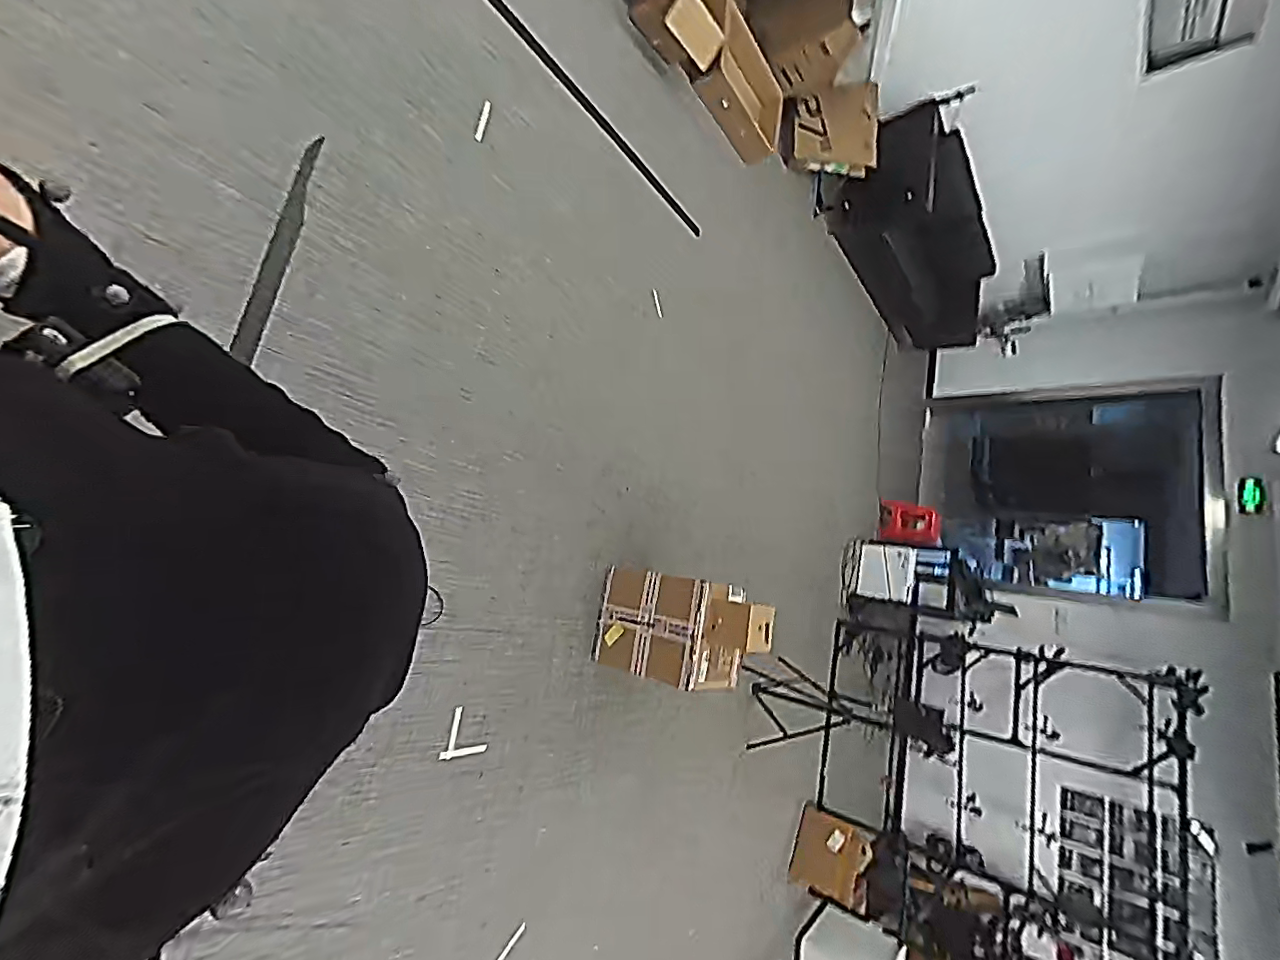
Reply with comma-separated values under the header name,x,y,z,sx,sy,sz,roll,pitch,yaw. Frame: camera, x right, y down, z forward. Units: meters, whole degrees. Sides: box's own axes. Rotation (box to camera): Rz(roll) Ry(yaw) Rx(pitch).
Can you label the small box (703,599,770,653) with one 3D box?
name,x,y,z,sx,sy,sz,roll,pitch,yaw
small box,0.357,0.538,1.999,0.179,0.176,0.168,19,75,-46
